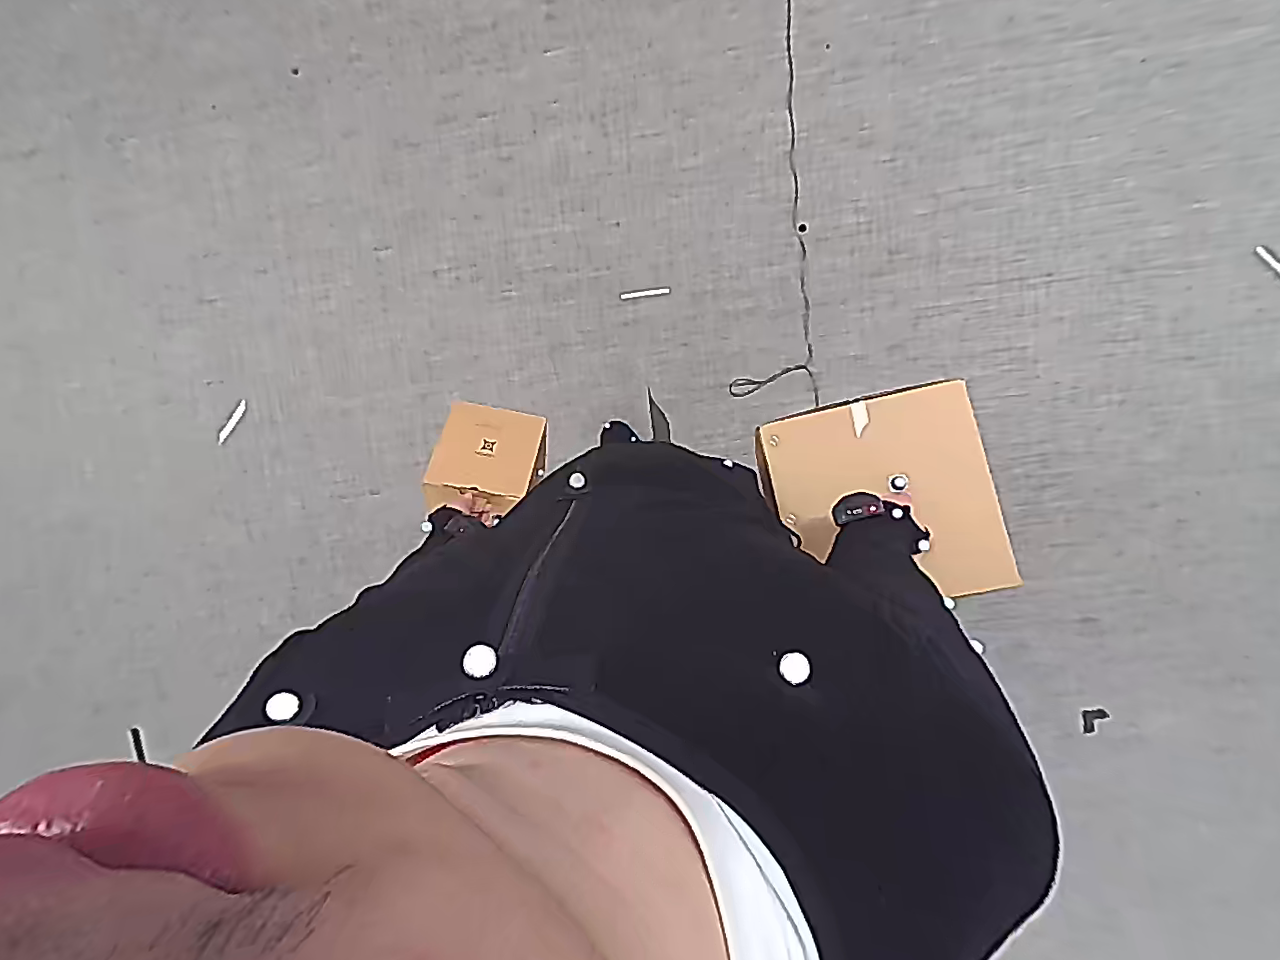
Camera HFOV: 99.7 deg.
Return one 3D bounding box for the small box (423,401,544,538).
[{"bbox_3d":[-0.274,-0.012,0.986,0.168,0.176,0.179,11,56,-5],"label":"small box"}]
